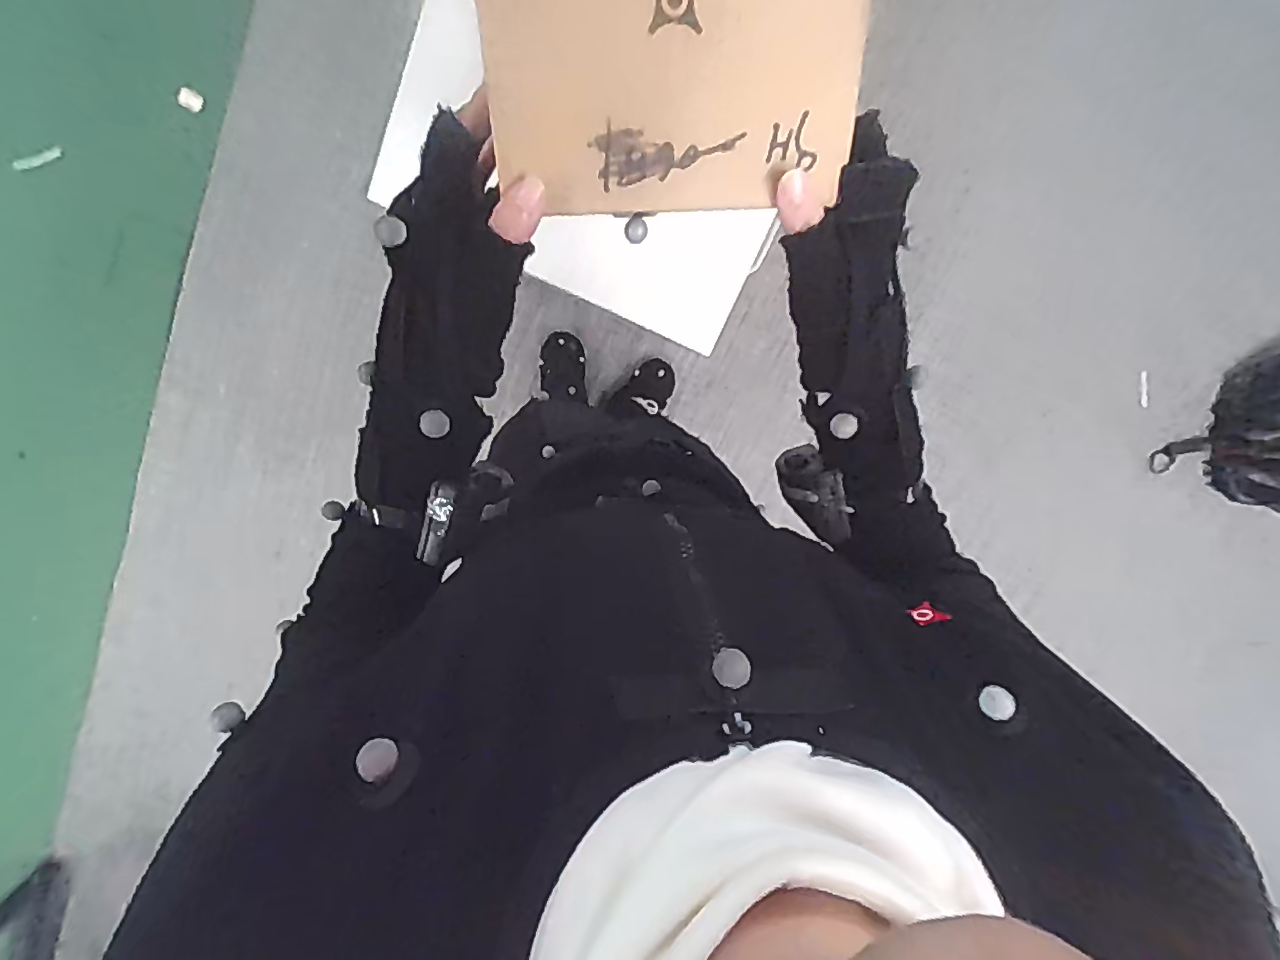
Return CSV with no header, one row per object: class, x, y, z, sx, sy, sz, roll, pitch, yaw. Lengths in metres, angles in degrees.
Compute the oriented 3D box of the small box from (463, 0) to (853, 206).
small box,0.000,-0.248,0.288,0.168,0.176,0.179,-4,117,-4
